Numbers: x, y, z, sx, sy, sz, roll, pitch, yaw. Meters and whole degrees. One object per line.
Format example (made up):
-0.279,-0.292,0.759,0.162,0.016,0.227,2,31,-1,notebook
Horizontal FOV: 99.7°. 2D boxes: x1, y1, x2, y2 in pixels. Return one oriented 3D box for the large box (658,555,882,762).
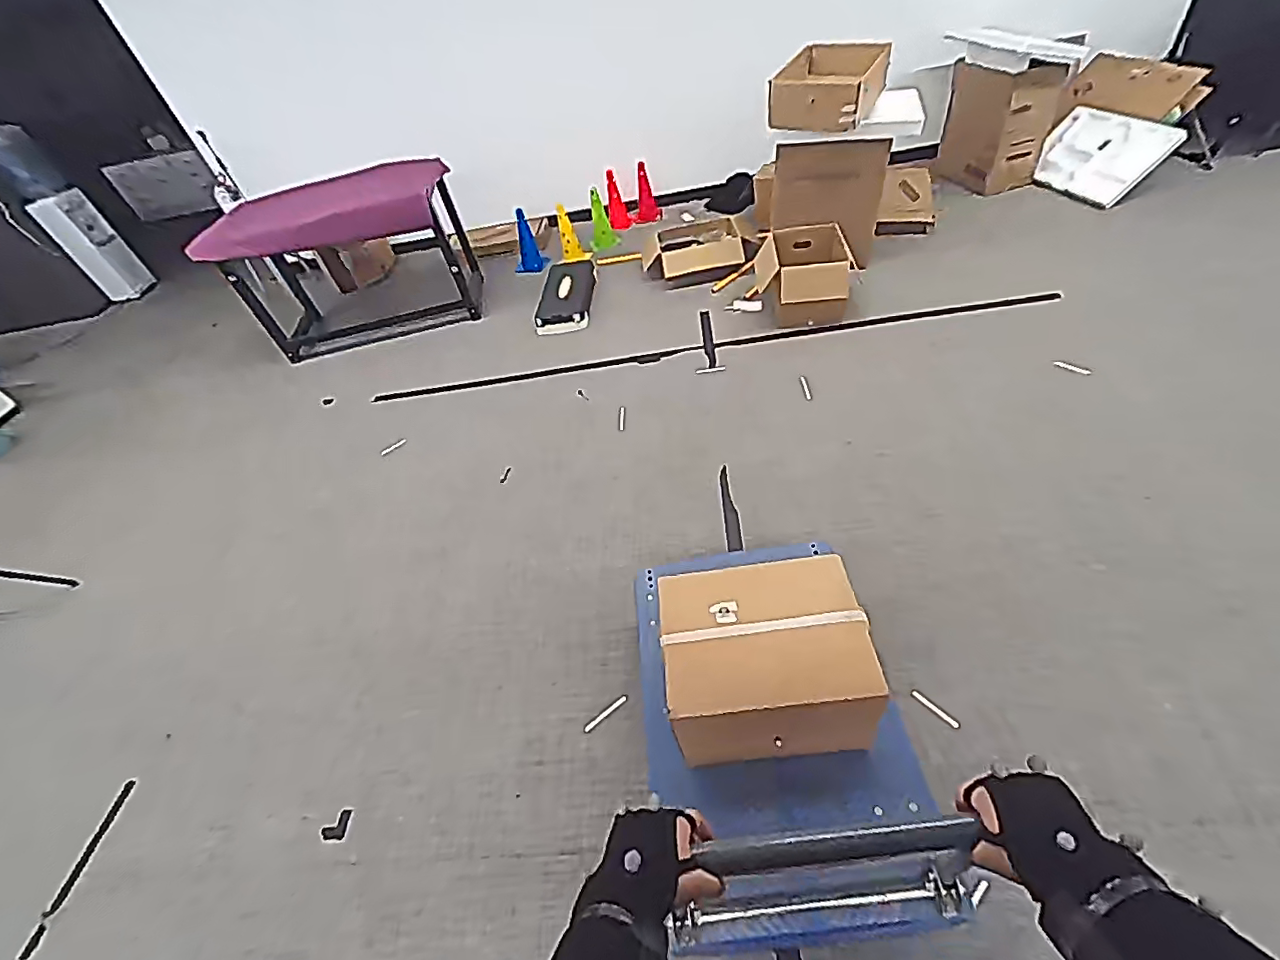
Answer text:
0.272,0.408,1.216,0.408,0.320,0.320,-9,45,6,large box
